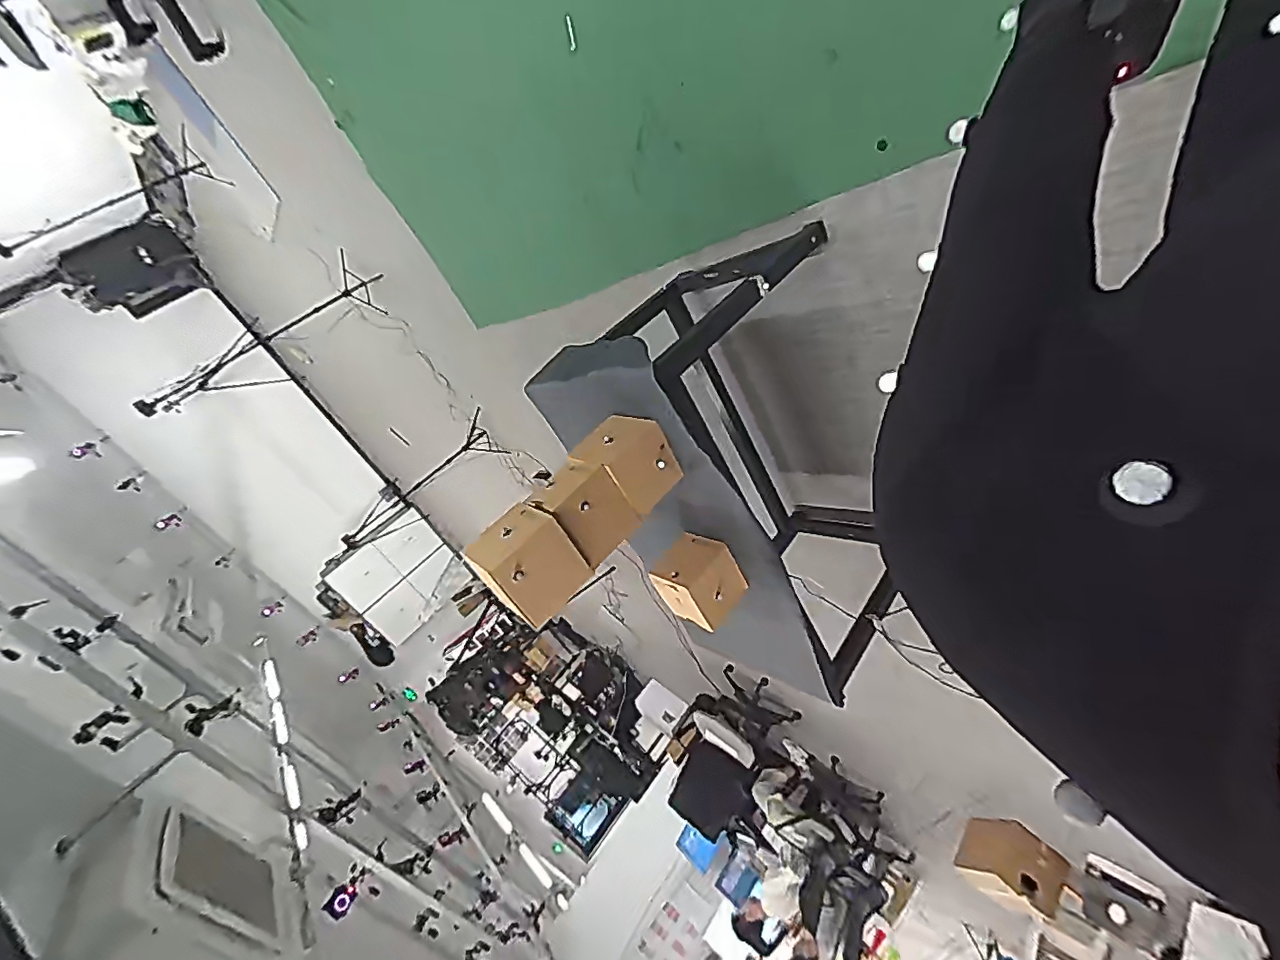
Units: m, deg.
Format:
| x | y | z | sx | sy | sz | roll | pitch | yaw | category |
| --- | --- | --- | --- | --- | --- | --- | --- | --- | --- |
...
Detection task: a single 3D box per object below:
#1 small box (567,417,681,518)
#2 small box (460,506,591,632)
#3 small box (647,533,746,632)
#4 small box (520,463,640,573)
| x | y | z | sx | sy | sz | roll | pitch | yaw | category |
| --- | --- | --- | --- | --- | --- | --- | --- | --- | --- |
| -0.035 | -0.034 | 1.283 | 0.179 | 0.176 | 0.168 | 14 | 142 | 49 | small box |
| -0.236 | 0.177 | 1.134 | 0.168 | 0.176 | 0.179 | 14 | 142 | 52 | small box |
| 0.158 | 0.272 | 1.463 | 0.168 | 0.176 | 0.179 | 10 | 139 | 51 | small box |
| -0.135 | 0.078 | 1.223 | 0.168 | 0.176 | 0.179 | 8 | 138 | 56 | small box |
